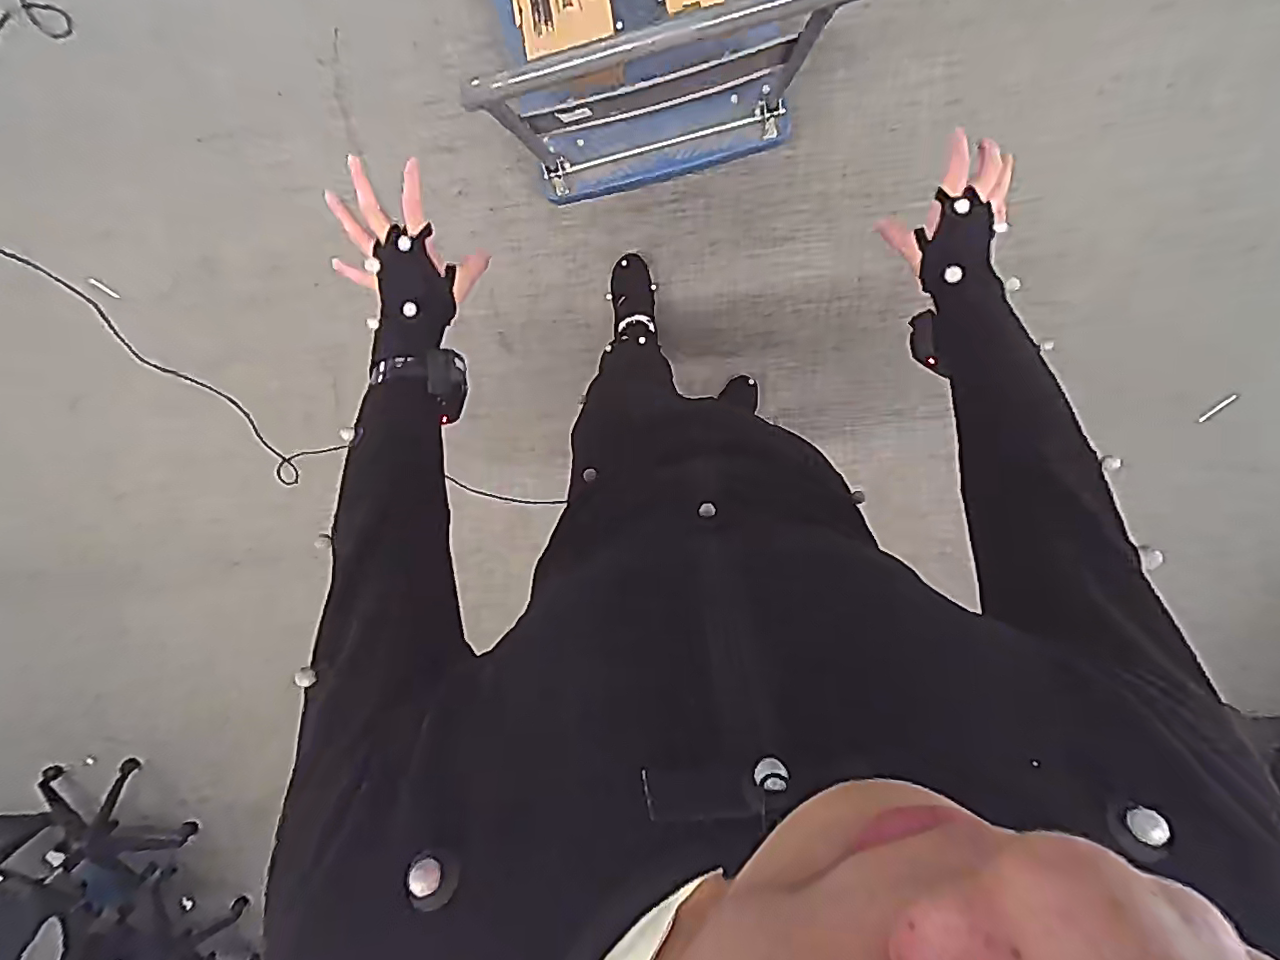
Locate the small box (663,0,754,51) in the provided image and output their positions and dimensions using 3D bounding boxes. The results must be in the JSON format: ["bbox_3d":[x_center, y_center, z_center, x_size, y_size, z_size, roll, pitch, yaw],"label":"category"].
[{"bbox_3d":[0.125,-0.996,1.060,0.168,0.176,0.179,-10,107,8],"label":"small box"}]
